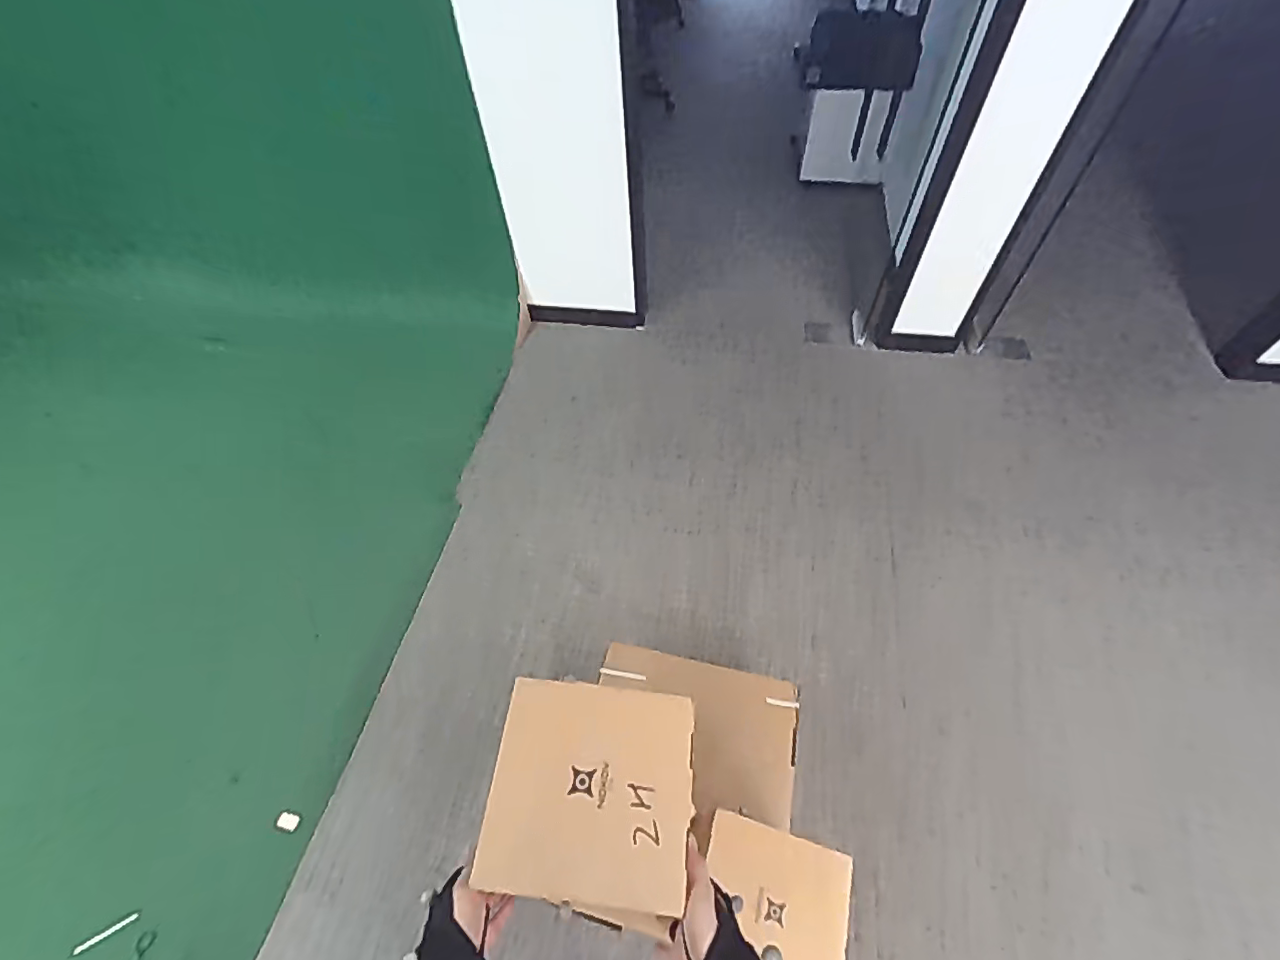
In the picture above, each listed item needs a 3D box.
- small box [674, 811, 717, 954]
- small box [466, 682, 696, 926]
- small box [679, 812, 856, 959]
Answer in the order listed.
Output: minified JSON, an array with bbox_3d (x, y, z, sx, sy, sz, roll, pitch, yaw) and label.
[{"bbox_3d":[0.153,0.641,0.828,0.168,0.176,0.179,14,54,11],"label":"small box"},{"bbox_3d":[-0.043,0.311,0.528,0.179,0.176,0.168,6,56,2],"label":"small box"},{"bbox_3d":[0.156,0.551,0.691,0.179,0.176,0.168,14,55,12],"label":"small box"}]
